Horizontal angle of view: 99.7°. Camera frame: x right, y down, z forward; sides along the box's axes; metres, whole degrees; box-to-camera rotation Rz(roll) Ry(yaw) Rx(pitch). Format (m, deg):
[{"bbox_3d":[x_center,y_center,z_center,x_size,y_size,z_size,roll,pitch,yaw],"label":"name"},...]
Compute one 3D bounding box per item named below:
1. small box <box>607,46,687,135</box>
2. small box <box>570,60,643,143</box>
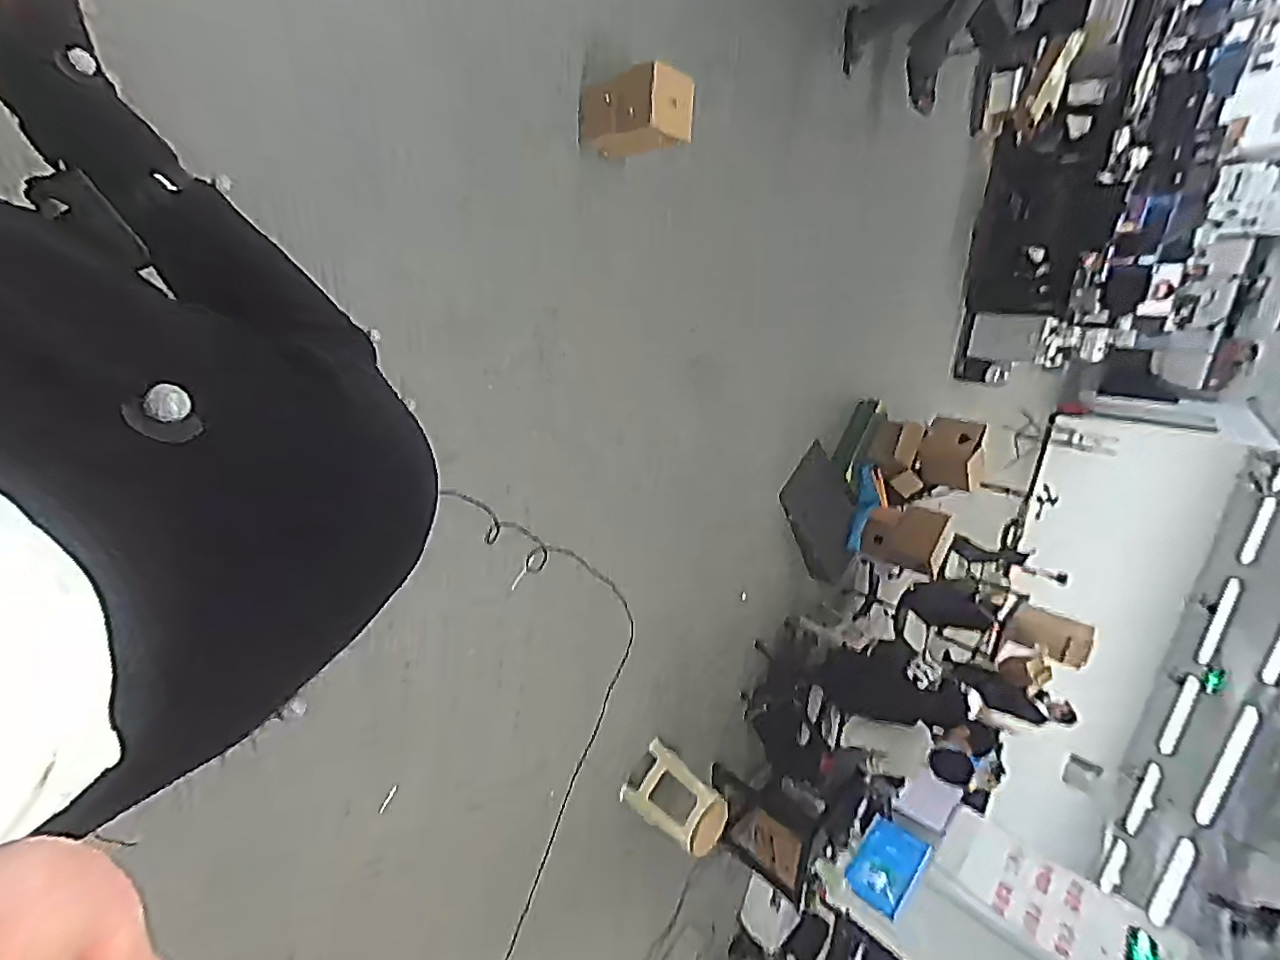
[{"bbox_3d":[0.016,-1.153,1.619,0.179,0.176,0.168,-16,117,-45],"label":"small box"},{"bbox_3d":[-0.100,-1.194,1.724,0.179,0.176,0.168,-13,114,-45],"label":"small box"}]
